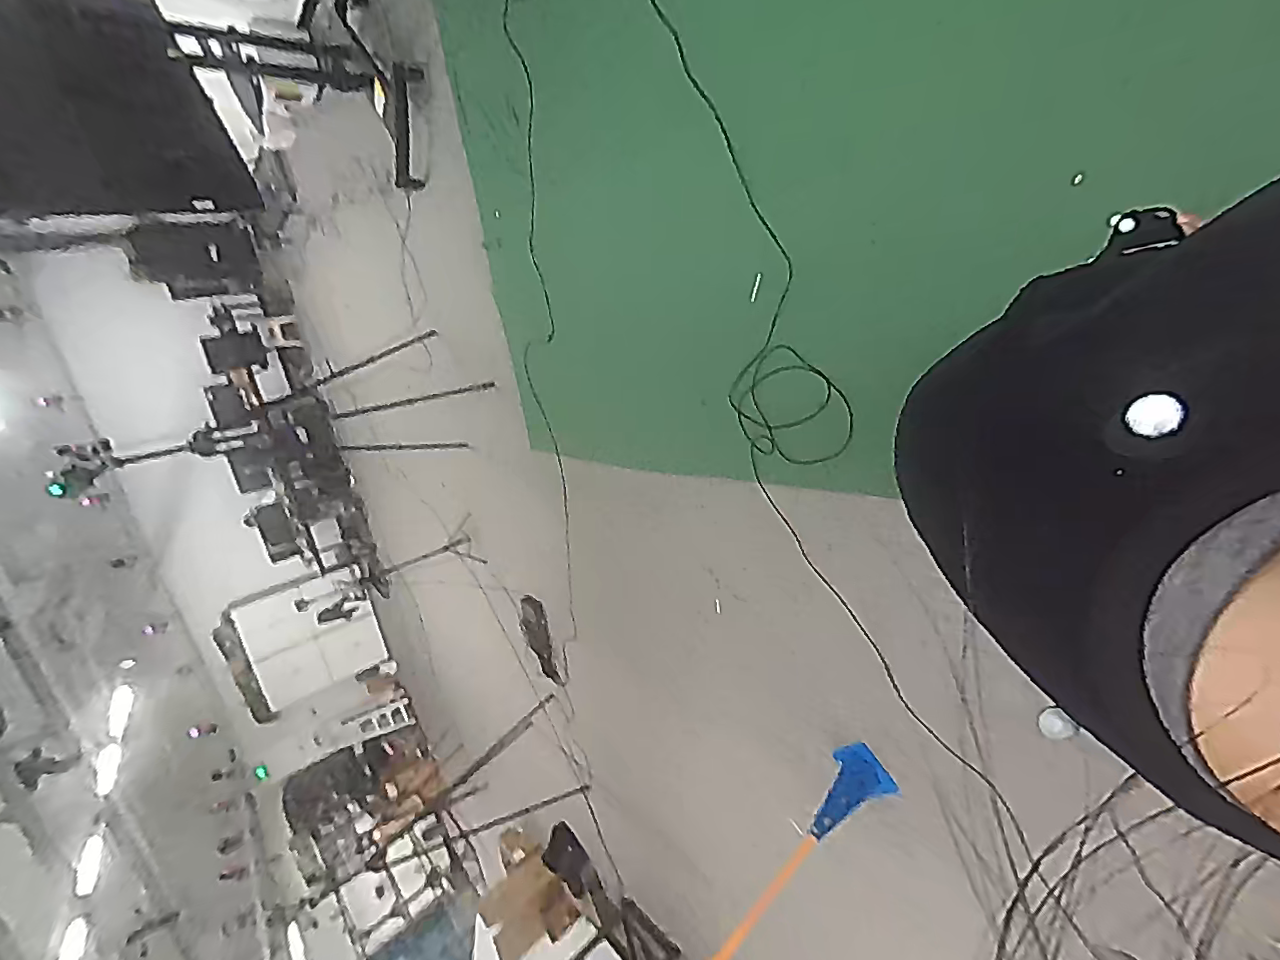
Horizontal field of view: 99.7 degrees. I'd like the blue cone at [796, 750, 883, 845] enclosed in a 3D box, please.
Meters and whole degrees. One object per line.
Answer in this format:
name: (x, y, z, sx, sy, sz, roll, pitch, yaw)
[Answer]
blue cone: (0.695, 1.184, 1.961, 0.192, 0.380, 0.193, 51, 142, 19)
